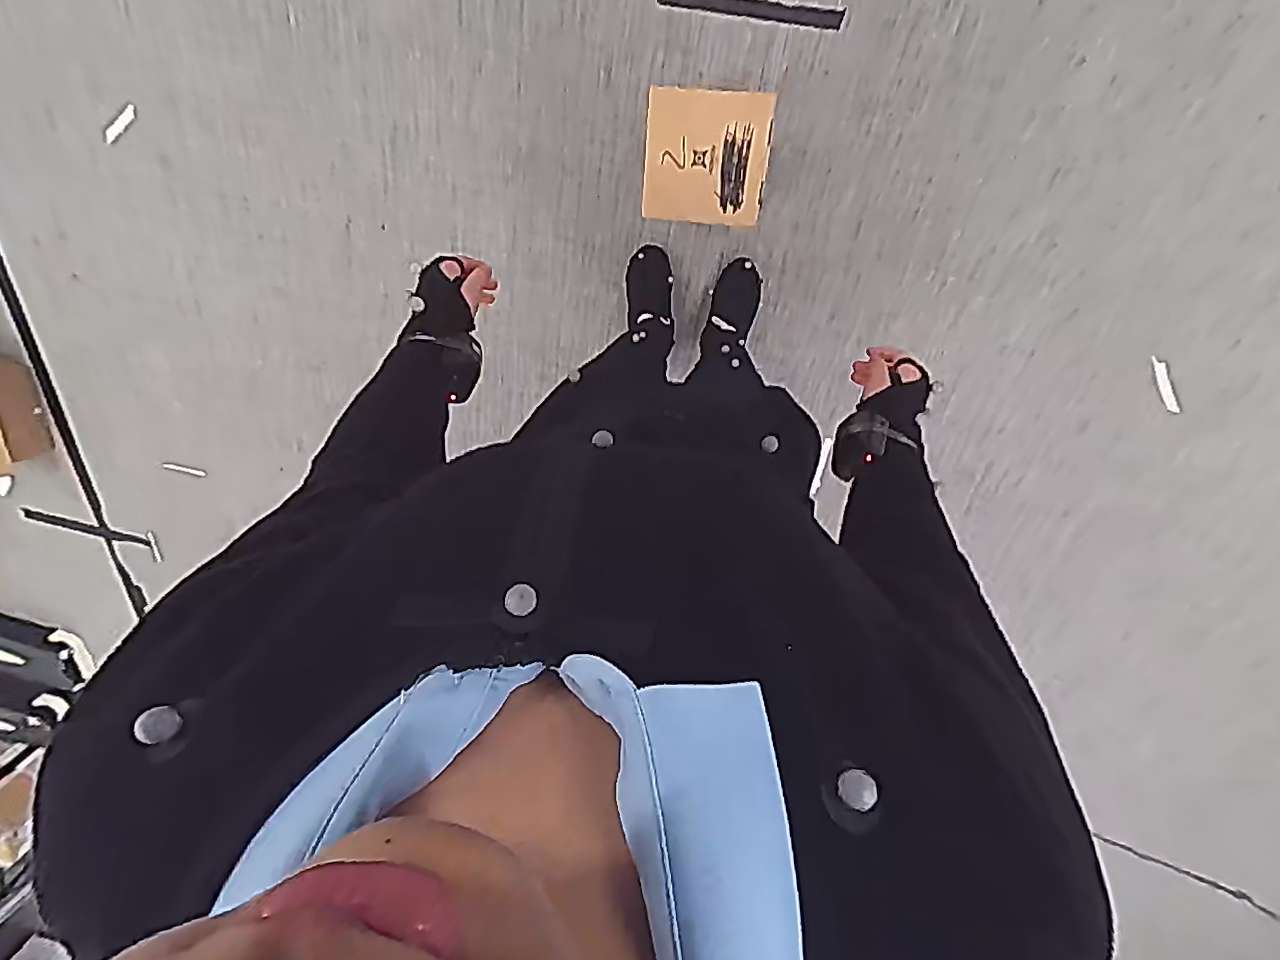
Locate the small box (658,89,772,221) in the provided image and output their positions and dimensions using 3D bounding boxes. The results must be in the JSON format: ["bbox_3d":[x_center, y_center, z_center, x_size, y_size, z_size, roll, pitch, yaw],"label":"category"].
[{"bbox_3d":[0.132,-0.576,0.973,0.168,0.176,0.179,10,120,4],"label":"small box"}]
